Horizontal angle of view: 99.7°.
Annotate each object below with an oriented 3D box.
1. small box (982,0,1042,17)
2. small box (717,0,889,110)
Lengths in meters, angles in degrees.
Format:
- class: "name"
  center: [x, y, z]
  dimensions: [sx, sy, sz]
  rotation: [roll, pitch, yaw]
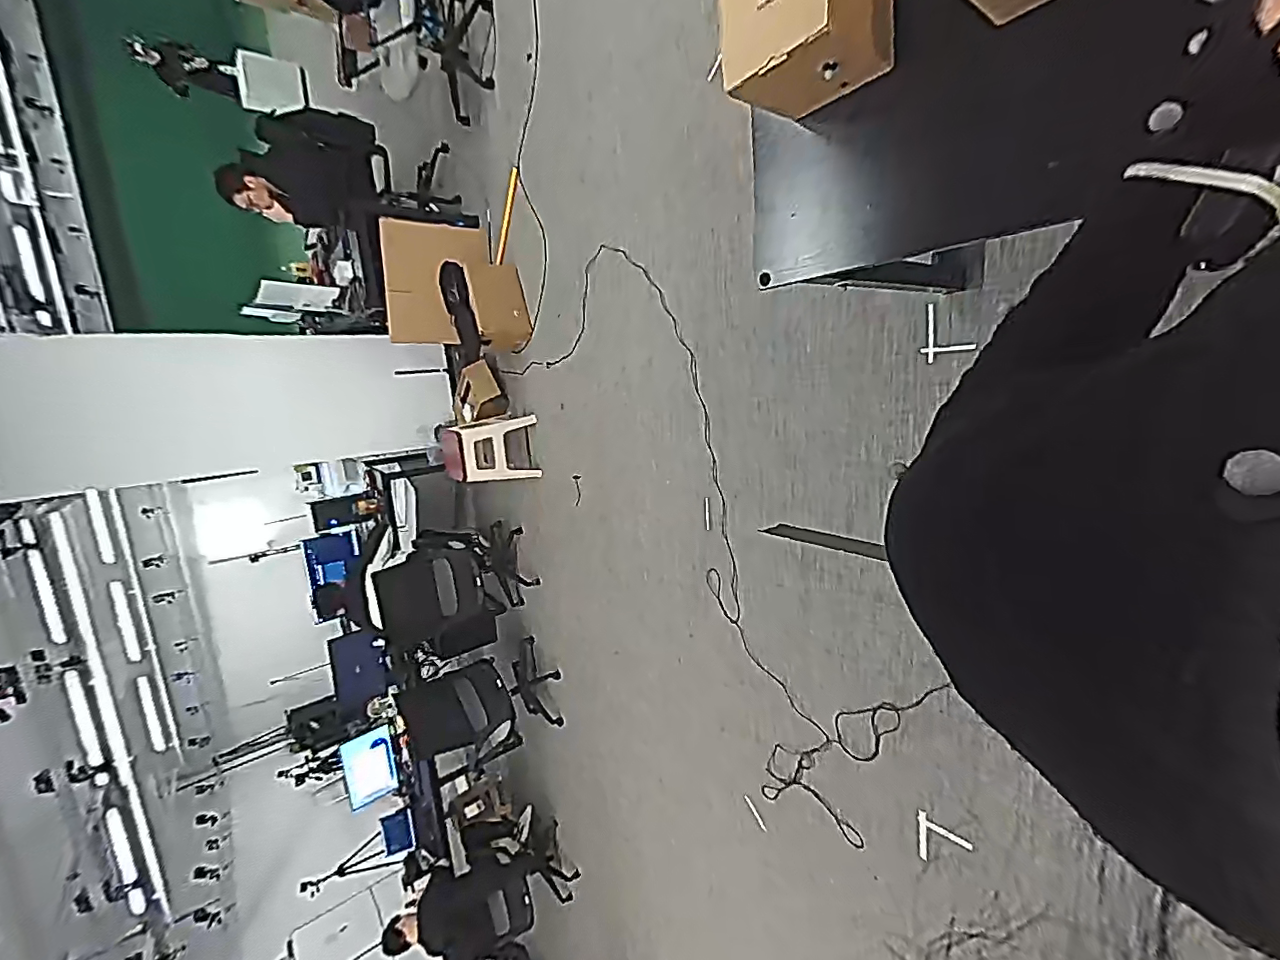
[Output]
- class: "small box"
  center: [0.403, -0.606, 0.517]
  dimensions: [0.168, 0.176, 0.179]
  rotation: [7, 107, 51]
- class: "small box"
  center: [0.224, -0.641, 0.739]
  dimensions: [0.168, 0.176, 0.179]
  rotation: [5, 103, 50]
